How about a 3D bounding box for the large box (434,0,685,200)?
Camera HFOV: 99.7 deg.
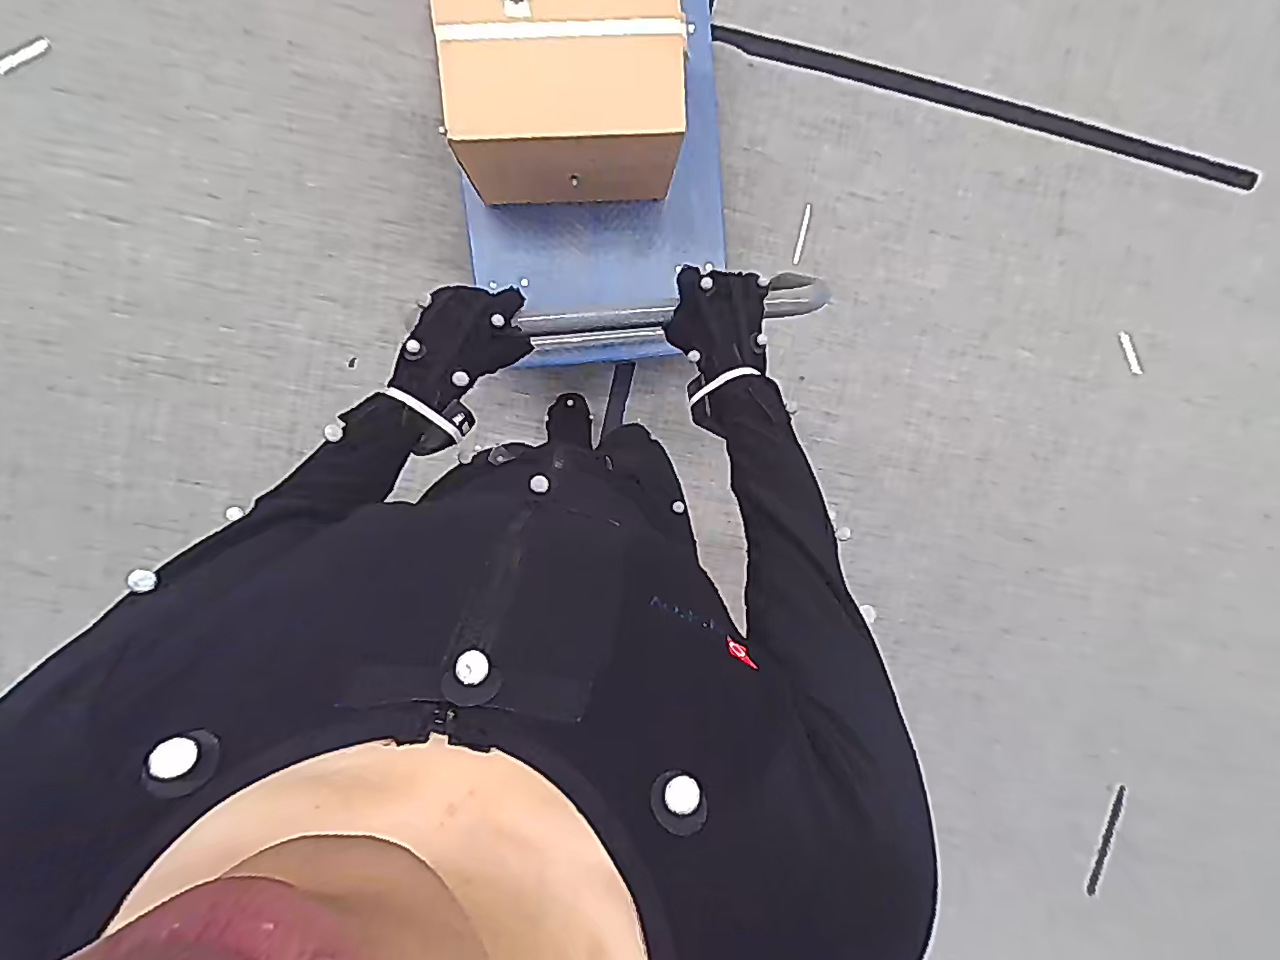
[{"bbox_3d":[-0.137,-0.757,1.034,0.408,0.320,0.320,-4,99,-3],"label":"large box"}]
